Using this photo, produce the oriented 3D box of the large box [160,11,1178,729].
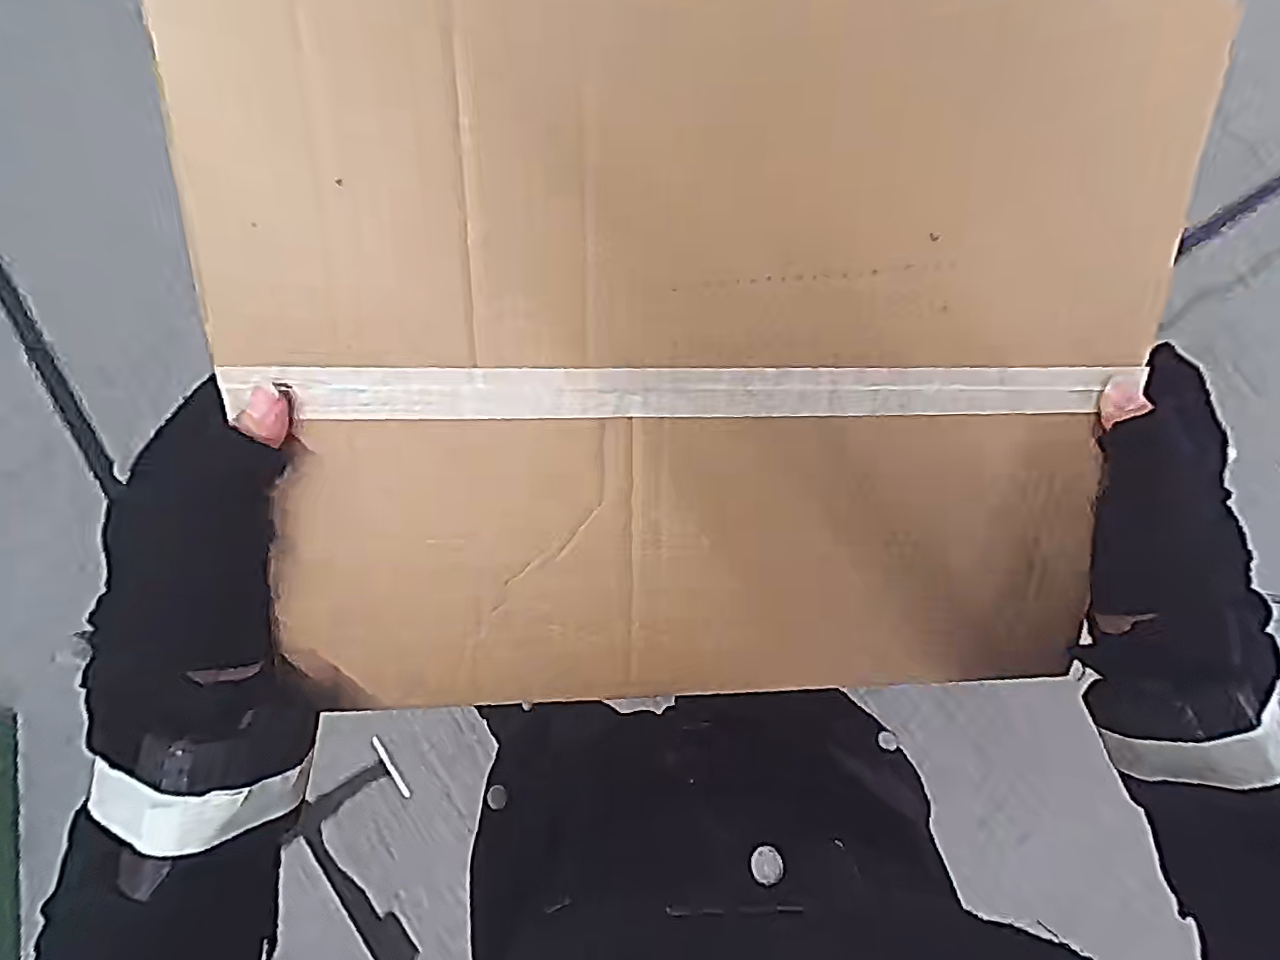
[{"bbox_3d":[0.017,-0.072,0.391,0.408,0.320,0.320,-3,106,-5],"label":"large box"}]
